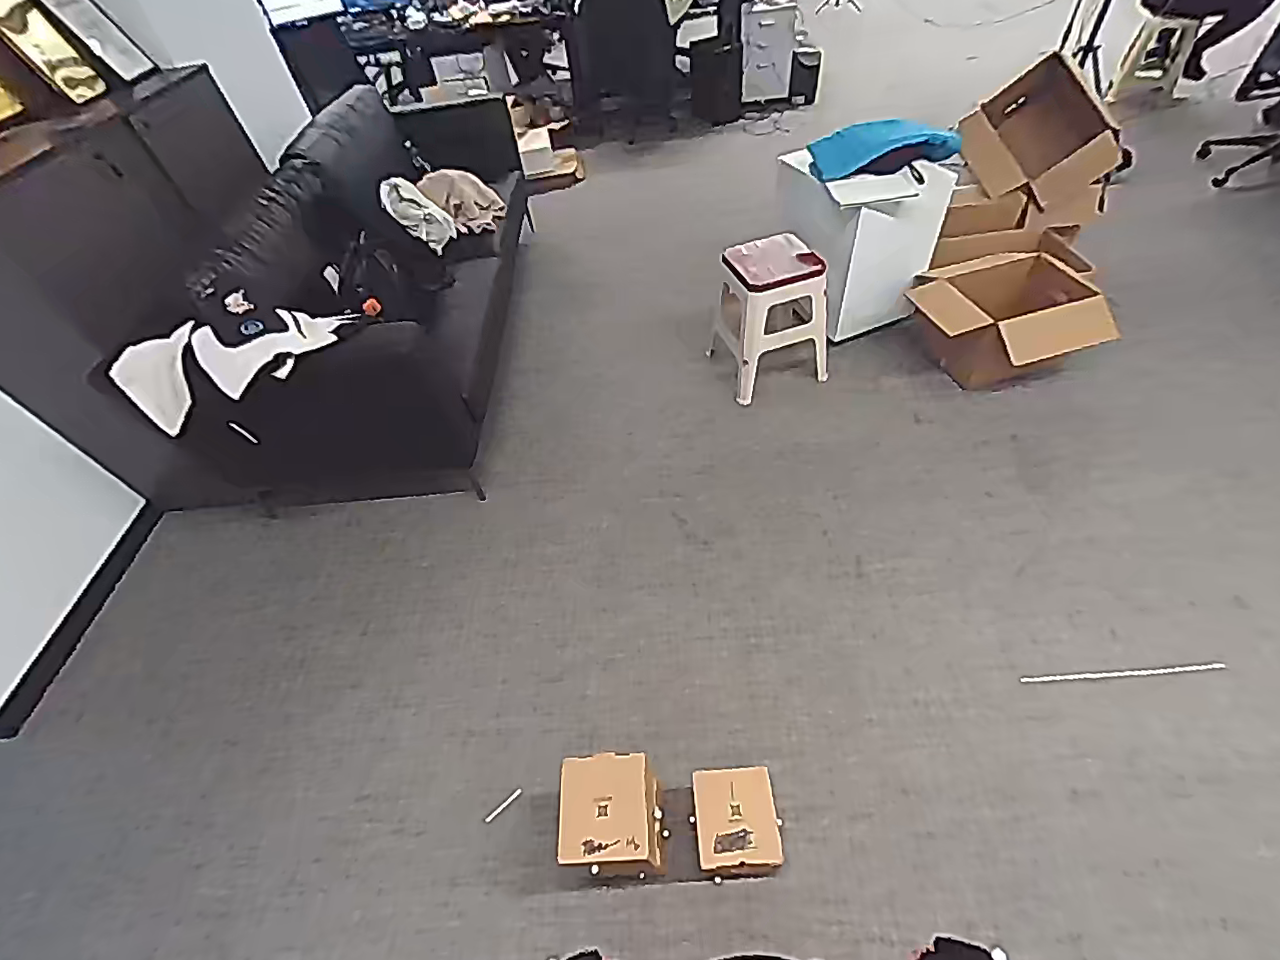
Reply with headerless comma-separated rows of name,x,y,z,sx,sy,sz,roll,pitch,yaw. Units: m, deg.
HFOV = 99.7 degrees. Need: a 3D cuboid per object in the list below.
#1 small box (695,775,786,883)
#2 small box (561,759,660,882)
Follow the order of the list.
small box,0.212,0.755,1.163,0.168,0.176,0.179,-6,48,3
small box,-0.051,0.670,1.062,0.168,0.176,0.179,-5,47,4
